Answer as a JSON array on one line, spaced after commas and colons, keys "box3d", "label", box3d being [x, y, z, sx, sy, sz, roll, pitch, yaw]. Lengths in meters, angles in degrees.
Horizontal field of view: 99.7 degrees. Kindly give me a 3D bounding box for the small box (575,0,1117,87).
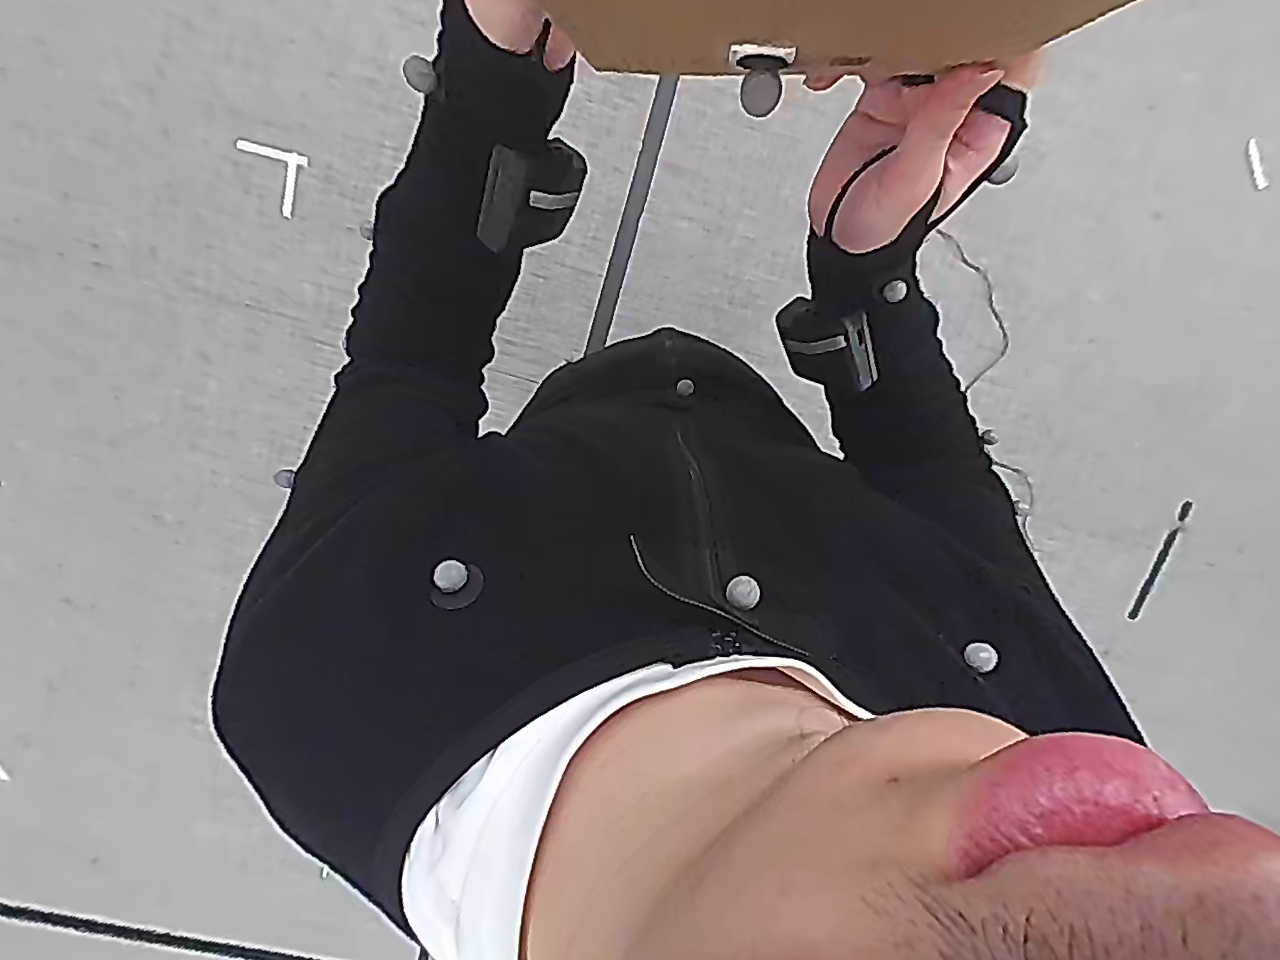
[{"box3d": [0.055, -0.222, 0.136, 0.168, 0.176, 0.179, 4, 118, 7], "label": "small box"}]
